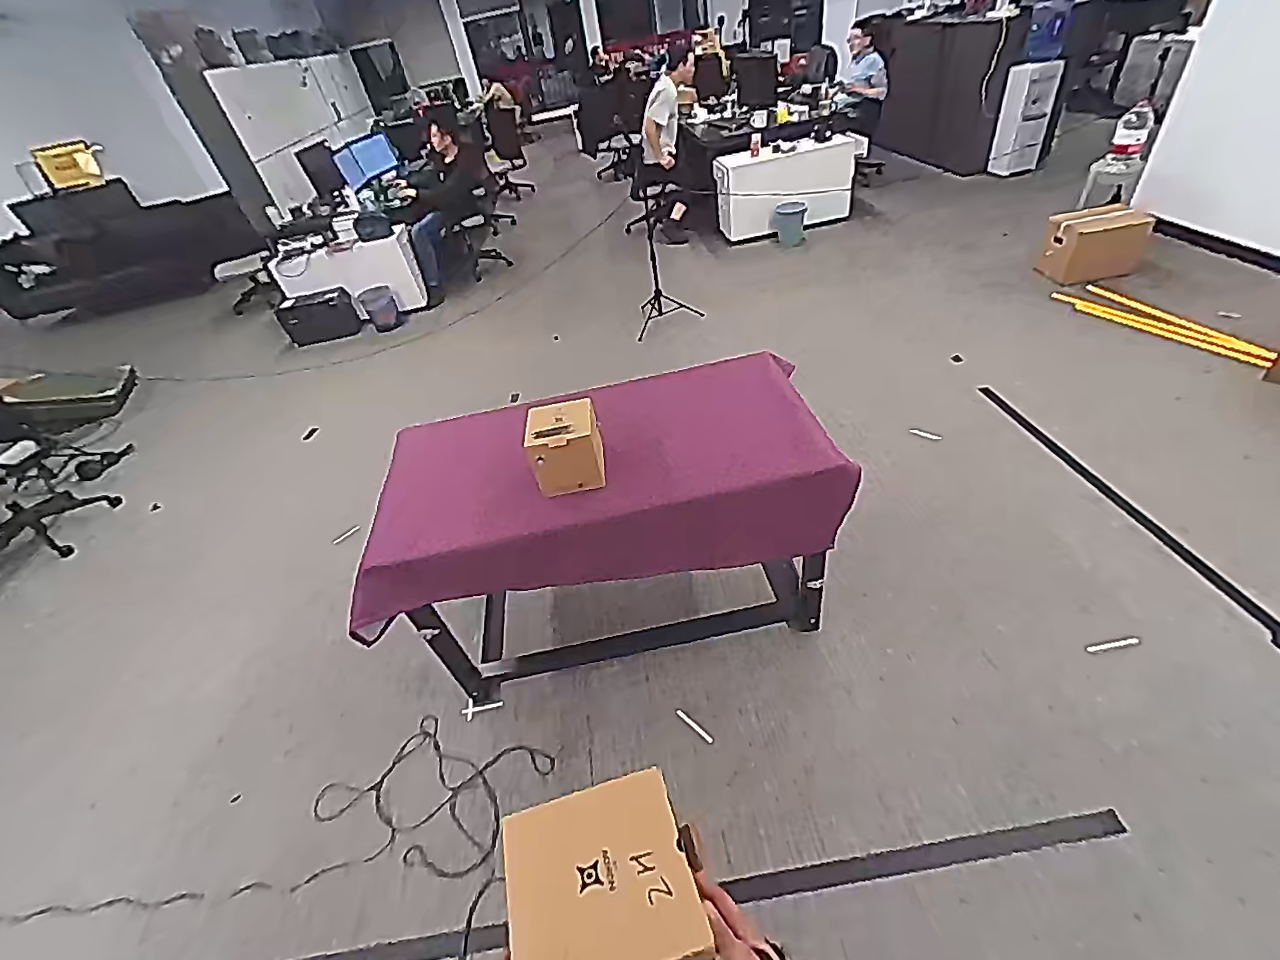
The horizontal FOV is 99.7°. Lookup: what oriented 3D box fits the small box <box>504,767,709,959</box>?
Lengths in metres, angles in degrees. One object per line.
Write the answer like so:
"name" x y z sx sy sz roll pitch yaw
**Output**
"small box" -0.034 0.442 0.559 0.179 0.176 0.168 -12 33 -10
